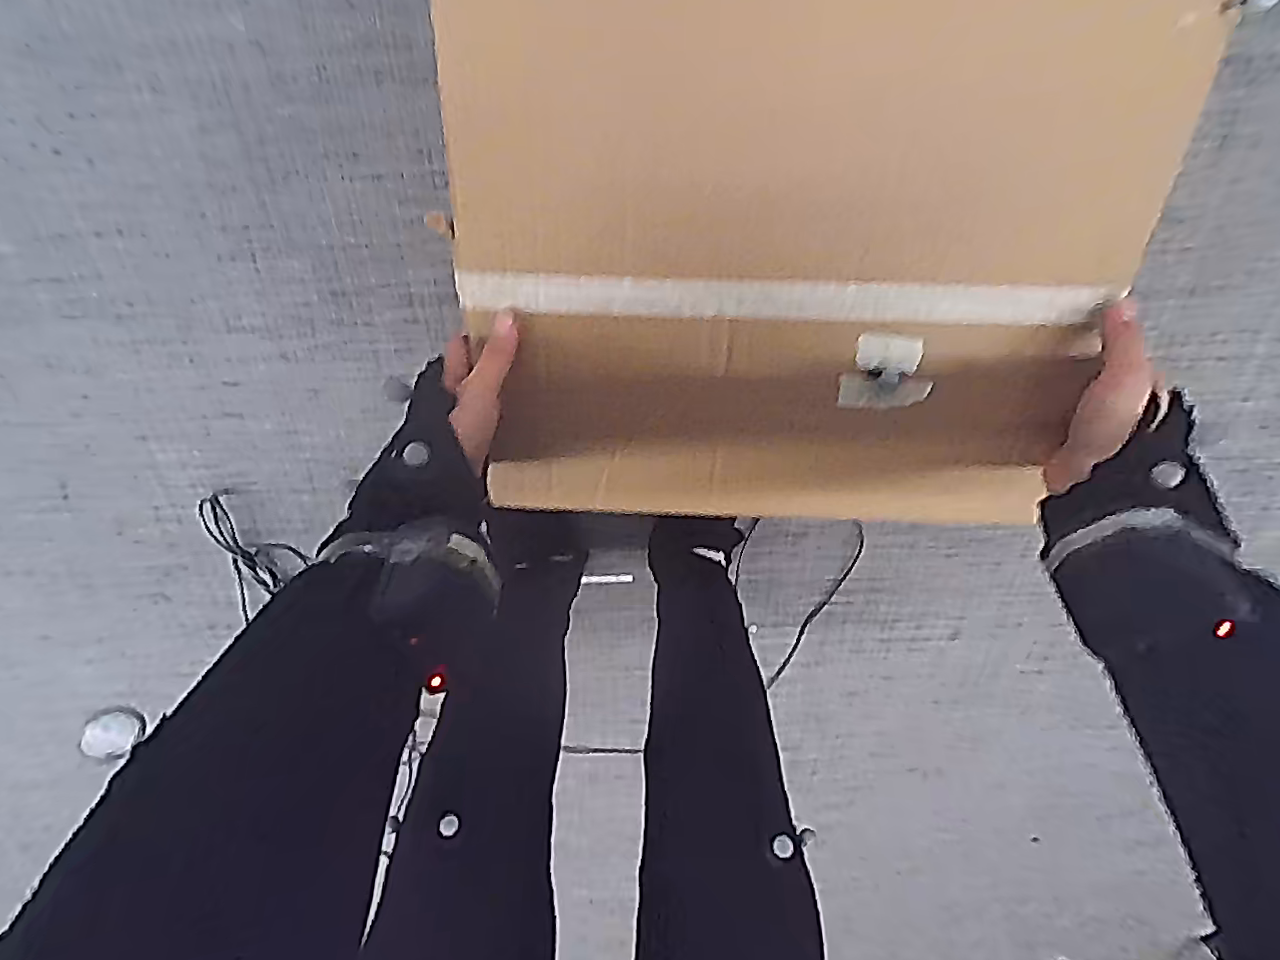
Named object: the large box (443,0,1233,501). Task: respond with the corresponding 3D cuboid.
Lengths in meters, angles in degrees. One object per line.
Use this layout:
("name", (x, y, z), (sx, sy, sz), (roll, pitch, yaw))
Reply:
("large box", (0.098, -0.188, 0.461), (0.408, 0.320, 0.320), (1, 116, 0))
